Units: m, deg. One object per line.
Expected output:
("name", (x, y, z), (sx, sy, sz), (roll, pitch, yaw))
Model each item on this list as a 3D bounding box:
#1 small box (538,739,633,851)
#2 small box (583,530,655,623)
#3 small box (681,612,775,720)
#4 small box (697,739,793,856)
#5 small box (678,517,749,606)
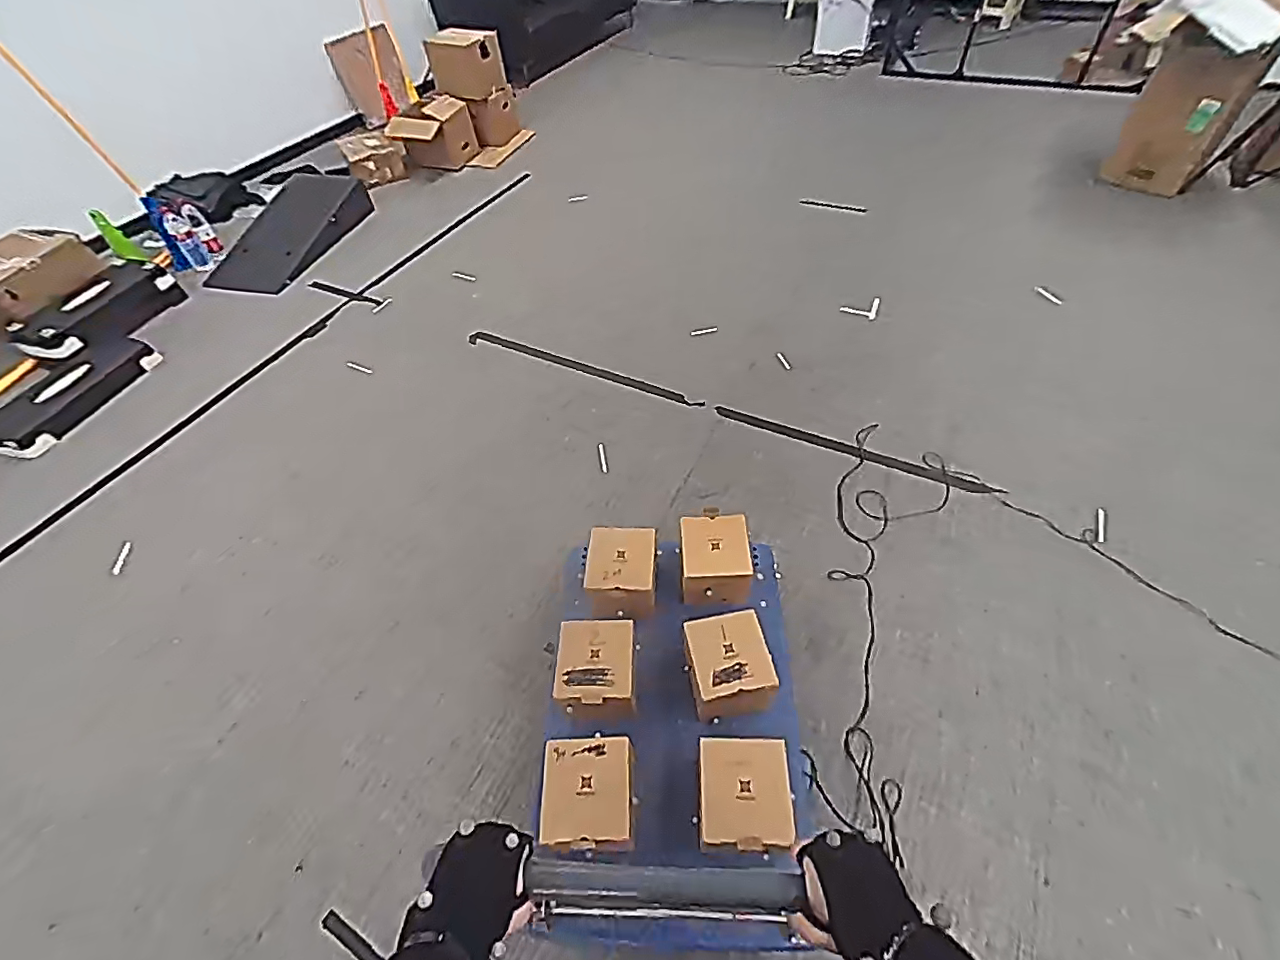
("small box", (-0.100, 0.634, 1.081), (0.168, 0.176, 0.179), (-2, 51, 1))
("small box", (-0.047, 0.248, 1.392), (0.168, 0.176, 0.179), (1, 52, 5))
("small box", (0.193, 0.428, 1.229), (0.168, 0.176, 0.179), (-10, 50, -4))
("small box", (0.198, 0.628, 1.066), (0.168, 0.176, 0.179), (0, 50, 4))
("small box", (0.186, 0.218, 1.402), (0.168, 0.176, 0.179), (-3, 50, 2))
